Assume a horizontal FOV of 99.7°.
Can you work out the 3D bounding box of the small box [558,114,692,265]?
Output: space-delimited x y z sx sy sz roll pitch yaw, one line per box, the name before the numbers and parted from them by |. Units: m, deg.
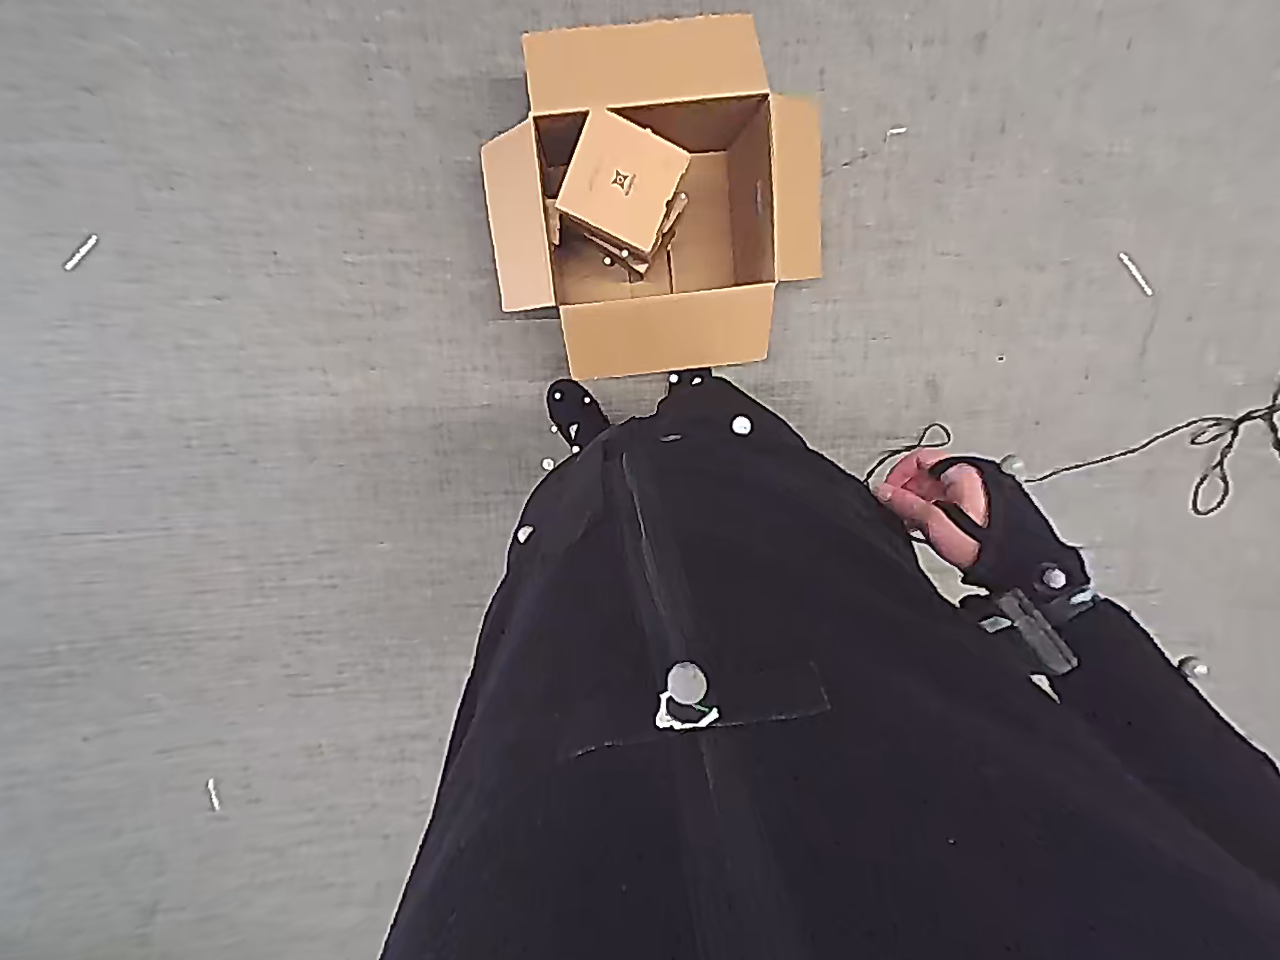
small box | -0.024 -0.501 0.963 0.179 0.176 0.168 25 104 -6
